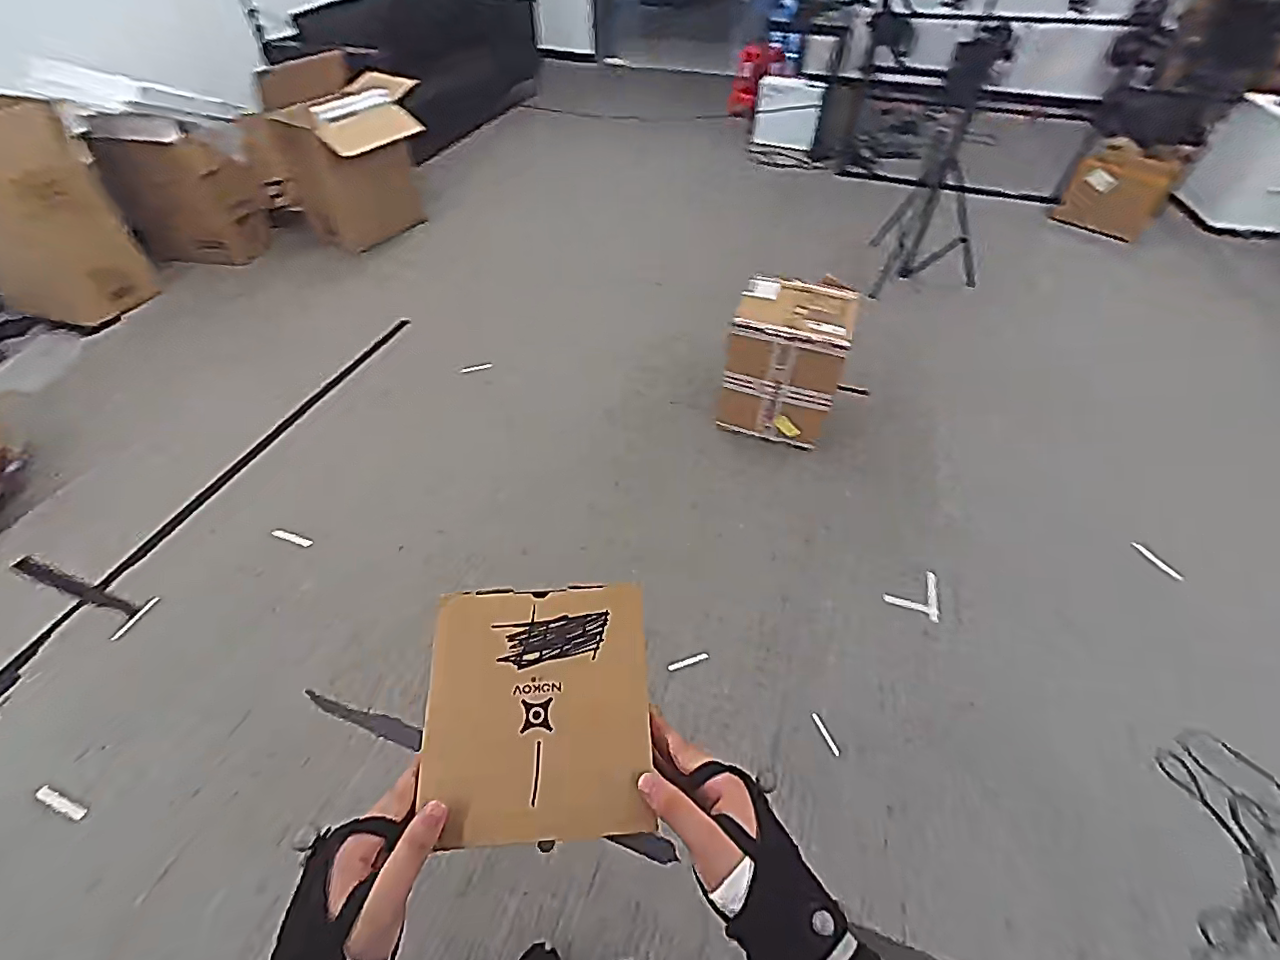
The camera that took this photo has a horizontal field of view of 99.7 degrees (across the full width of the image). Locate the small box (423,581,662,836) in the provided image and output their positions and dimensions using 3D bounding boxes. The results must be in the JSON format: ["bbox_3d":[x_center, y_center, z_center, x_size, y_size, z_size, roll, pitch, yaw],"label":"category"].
[{"bbox_3d":[-0.072,0.199,0.477,0.168,0.176,0.179,-2,63,-3],"label":"small box"}]
